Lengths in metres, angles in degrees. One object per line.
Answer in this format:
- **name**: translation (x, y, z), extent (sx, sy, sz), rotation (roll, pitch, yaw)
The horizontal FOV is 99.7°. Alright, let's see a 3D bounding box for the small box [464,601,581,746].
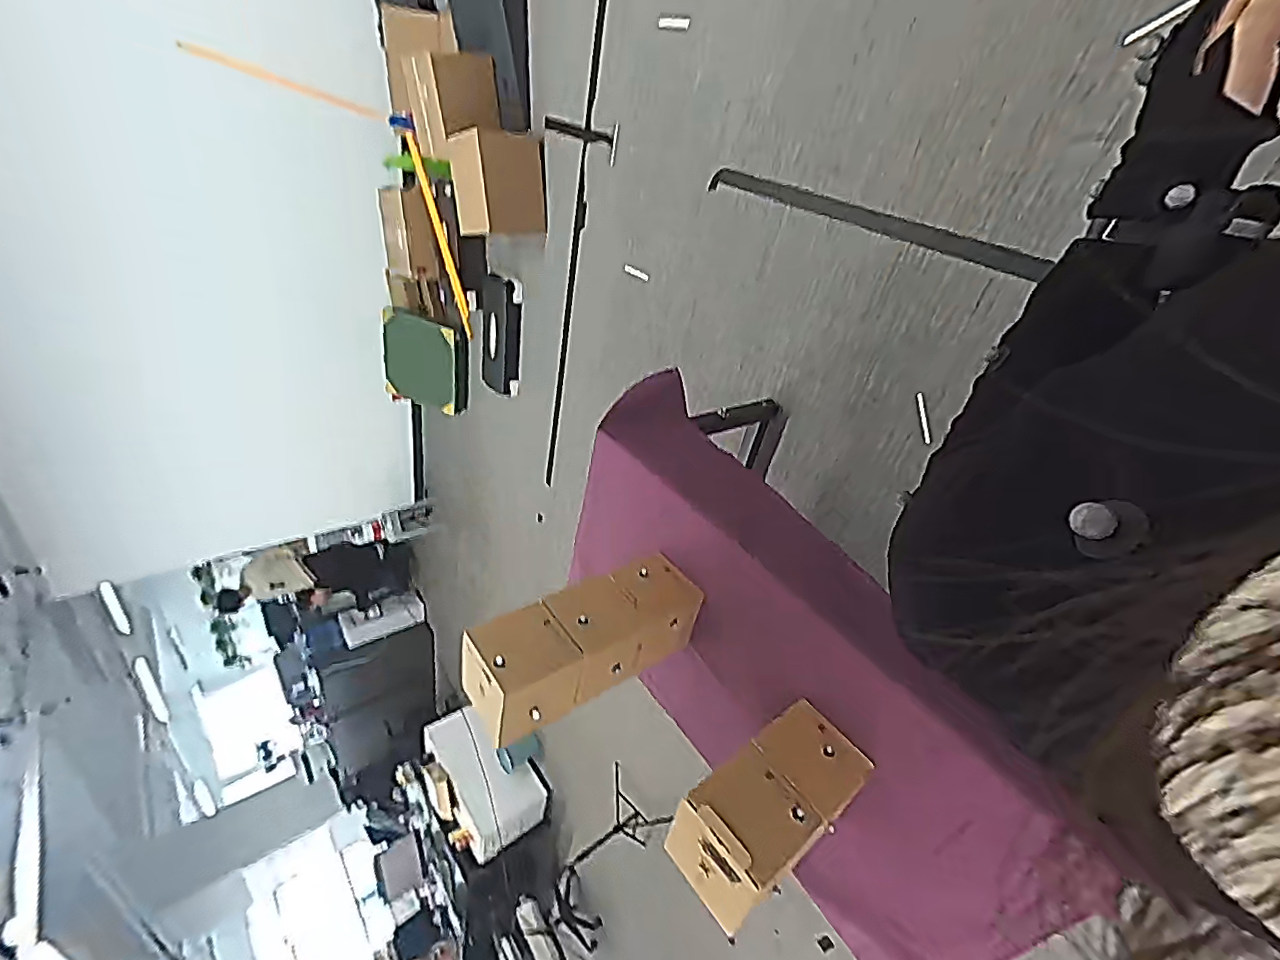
- **small box**: translation (-0.232, 0.373, 1.064), extent (0.168, 0.176, 0.179), rotation (40, 132, 35)

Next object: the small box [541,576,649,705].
- **small box**: translation (-0.103, 0.334, 1.159), extent (0.179, 0.176, 0.168), rotation (40, 131, 36)

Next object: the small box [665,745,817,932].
- **small box**: translation (0.172, 0.595, 0.918), extent (0.168, 0.176, 0.179), rotation (39, 131, 37)

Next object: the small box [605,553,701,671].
- **small box**: translation (0.020, 0.298, 1.261), extent (0.168, 0.176, 0.179), rotation (41, 132, 35)

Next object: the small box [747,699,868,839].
- **small box**: translation (0.296, 0.557, 1.018), extent (0.168, 0.176, 0.179), rotation (40, 131, 36)
